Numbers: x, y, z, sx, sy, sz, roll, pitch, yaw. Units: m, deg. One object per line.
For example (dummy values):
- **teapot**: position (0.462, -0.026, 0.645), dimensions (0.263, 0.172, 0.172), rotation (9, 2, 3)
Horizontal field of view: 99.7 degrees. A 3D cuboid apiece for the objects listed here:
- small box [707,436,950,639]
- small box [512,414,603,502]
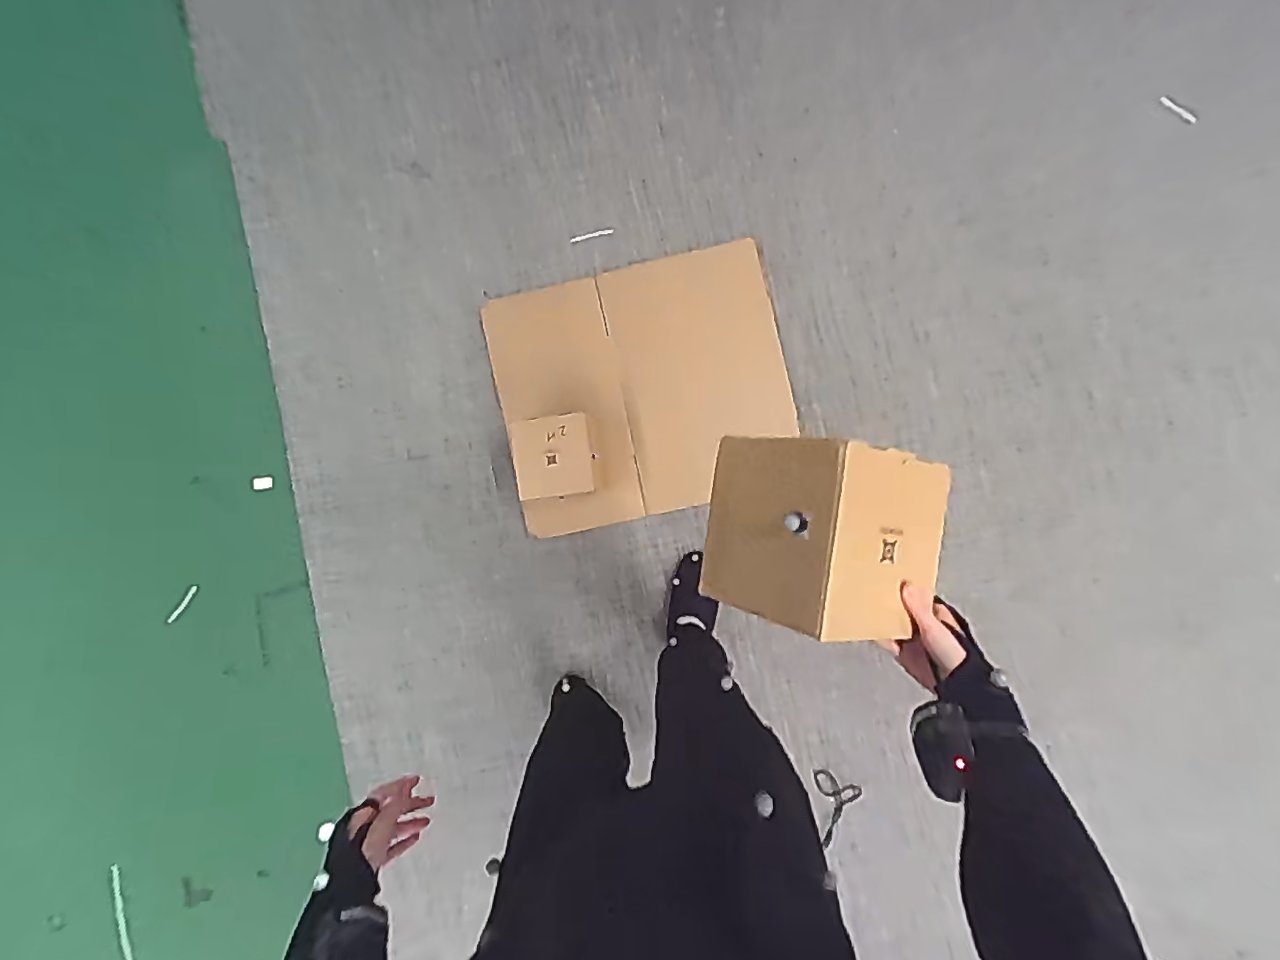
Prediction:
- **small box**: position (0.189, 0.056, 0.568), dimensions (0.168, 0.176, 0.179), rotation (9, 87, -31)
- **small box**: position (-0.180, -0.046, 1.231), dimensions (0.168, 0.176, 0.179), rotation (-7, 88, 2)
